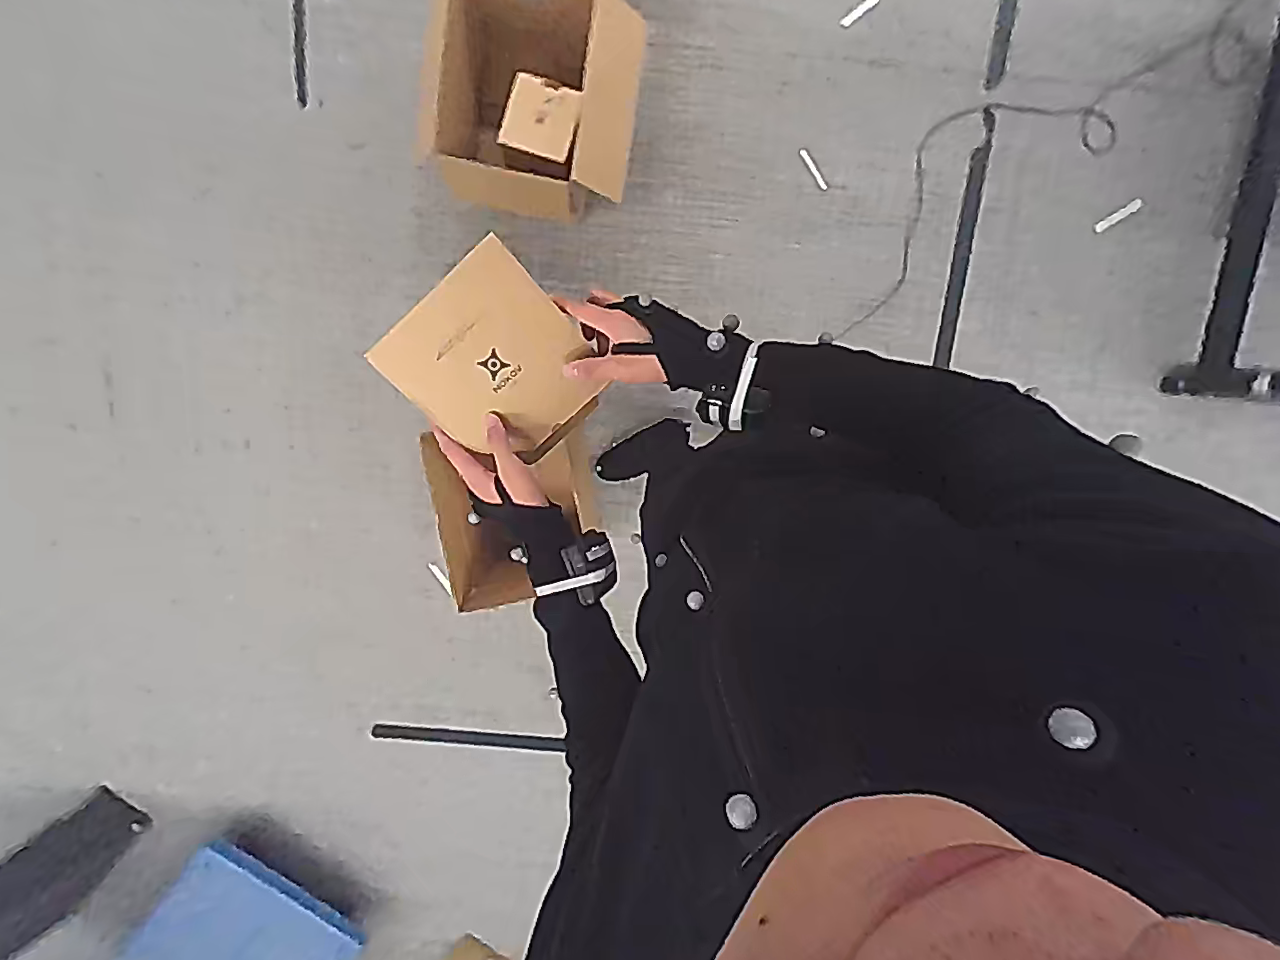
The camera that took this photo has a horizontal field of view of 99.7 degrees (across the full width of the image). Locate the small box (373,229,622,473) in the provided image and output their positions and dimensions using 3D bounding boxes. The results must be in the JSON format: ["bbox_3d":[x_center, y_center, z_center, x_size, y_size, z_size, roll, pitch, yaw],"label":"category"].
[{"bbox_3d":[-0.145,-0.143,0.588,0.168,0.176,0.179,-40,113,4],"label":"small box"}]
